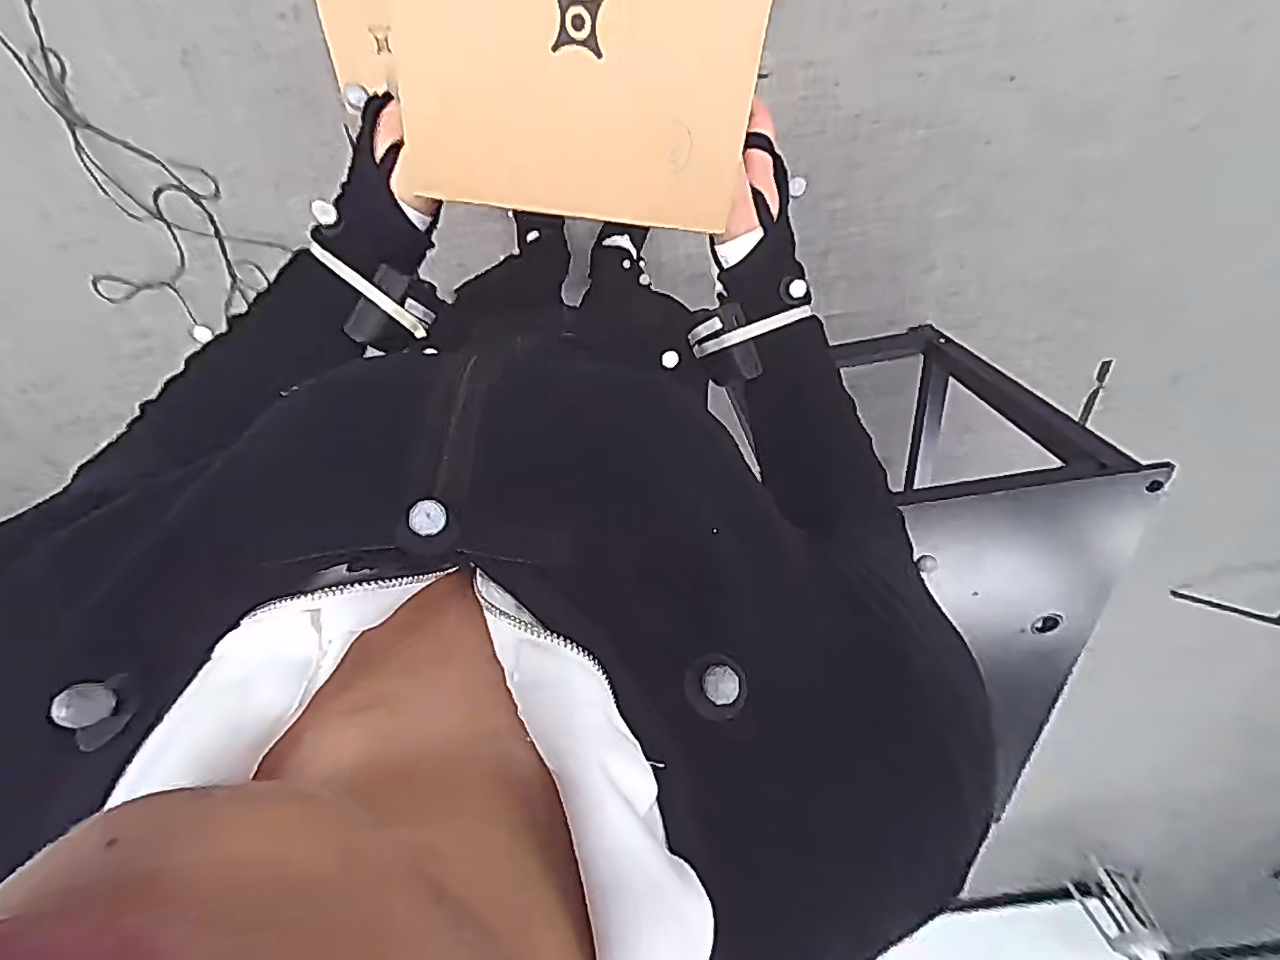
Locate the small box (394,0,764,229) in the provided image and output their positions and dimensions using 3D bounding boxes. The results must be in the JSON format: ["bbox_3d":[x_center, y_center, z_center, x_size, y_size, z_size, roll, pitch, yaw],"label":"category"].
[{"bbox_3d":[-0.028,-0.261,0.304,0.168,0.176,0.179,5,125,-6],"label":"small box"}]

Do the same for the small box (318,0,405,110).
[{"bbox_3d":[-0.391,-0.711,0.880,0.168,0.176,0.179,-4,125,-1],"label":"small box"}]
